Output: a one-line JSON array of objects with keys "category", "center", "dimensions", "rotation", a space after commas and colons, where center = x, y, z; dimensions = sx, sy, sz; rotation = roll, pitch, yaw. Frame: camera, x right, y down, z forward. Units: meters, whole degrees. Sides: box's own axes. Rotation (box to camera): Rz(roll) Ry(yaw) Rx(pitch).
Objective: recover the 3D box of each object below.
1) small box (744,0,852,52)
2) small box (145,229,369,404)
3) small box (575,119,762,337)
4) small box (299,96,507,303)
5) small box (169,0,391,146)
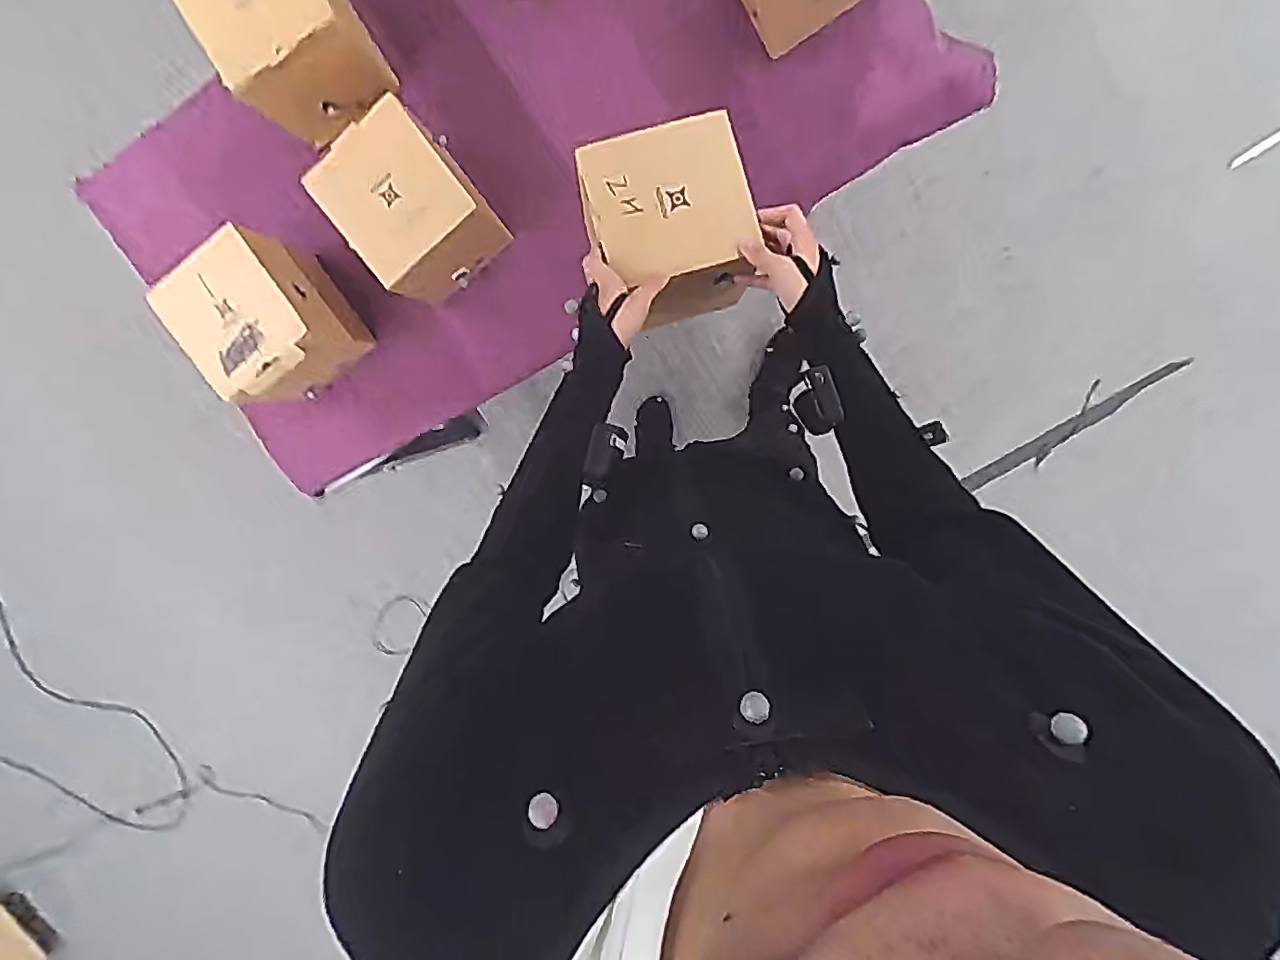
[{"category": "small box", "center": [0.212, -0.707, 0.685], "dimensions": [0.179, 0.176, 0.168], "rotation": [-31, 97, 9]}, {"category": "small box", "center": [-0.551, -0.232, 0.808], "dimensions": [0.168, 0.176, 0.179], "rotation": [-35, 95, 8]}, {"category": "small box", "center": [0.029, -0.295, 0.668], "dimensions": [0.179, 0.176, 0.168], "rotation": [-15, 88, -1]}, {"category": "small box", "center": [-0.322, -0.379, 0.772], "dimensions": [0.168, 0.176, 0.179], "rotation": [-37, 96, 9]}, {"category": "small box", "center": [-0.485, -0.608, 0.736], "dimensions": [0.168, 0.176, 0.179], "rotation": [-30, 98, 7]}]
